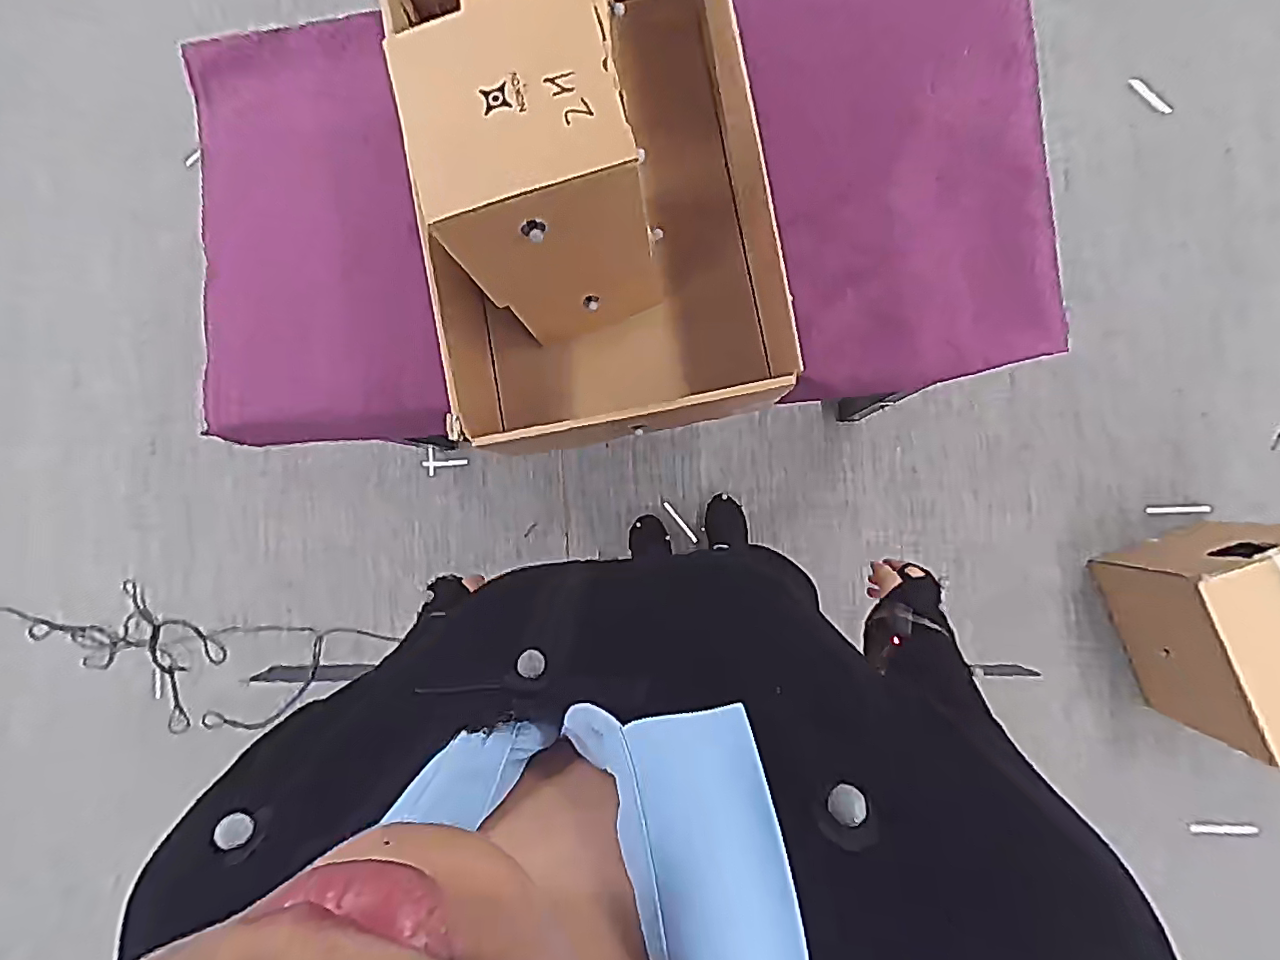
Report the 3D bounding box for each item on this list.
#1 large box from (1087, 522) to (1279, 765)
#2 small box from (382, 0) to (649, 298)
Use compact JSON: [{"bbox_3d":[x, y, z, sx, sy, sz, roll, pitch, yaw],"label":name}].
[{"bbox_3d":[1.345,0.337,1.223,0.320,0.320,0.408,-22,85,4],"label":"large box"},{"bbox_3d":[-0.097,-0.291,0.496,0.179,0.176,0.168,-15,85,3],"label":"small box"}]
